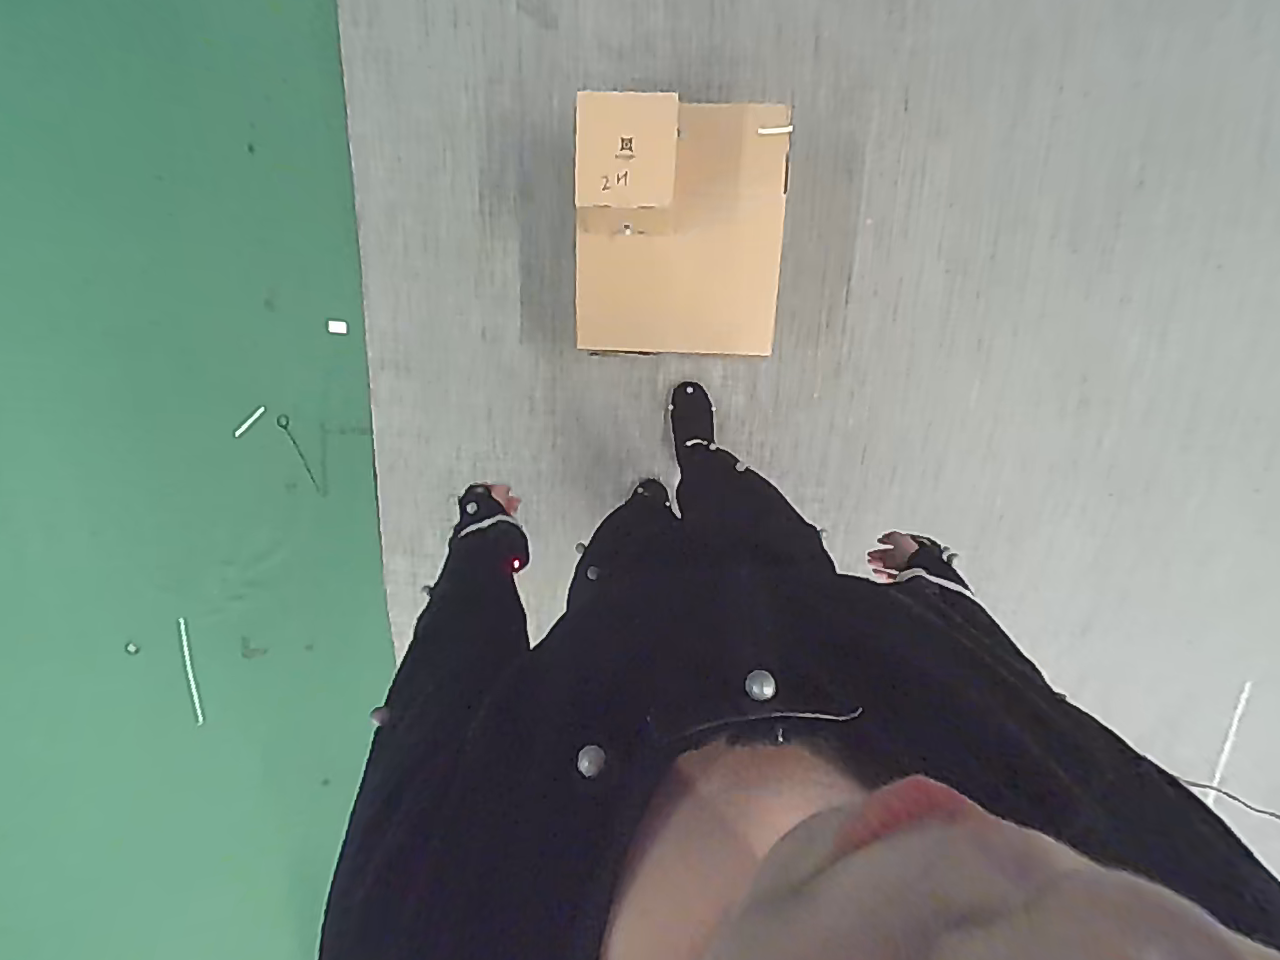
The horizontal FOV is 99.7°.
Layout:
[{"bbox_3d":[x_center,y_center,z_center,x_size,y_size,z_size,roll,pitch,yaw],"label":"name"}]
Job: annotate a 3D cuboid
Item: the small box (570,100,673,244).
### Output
[{"bbox_3d":[-0.029,-0.539,0.966,0.168,0.176,0.179,2,100,2],"label":"small box"}]
